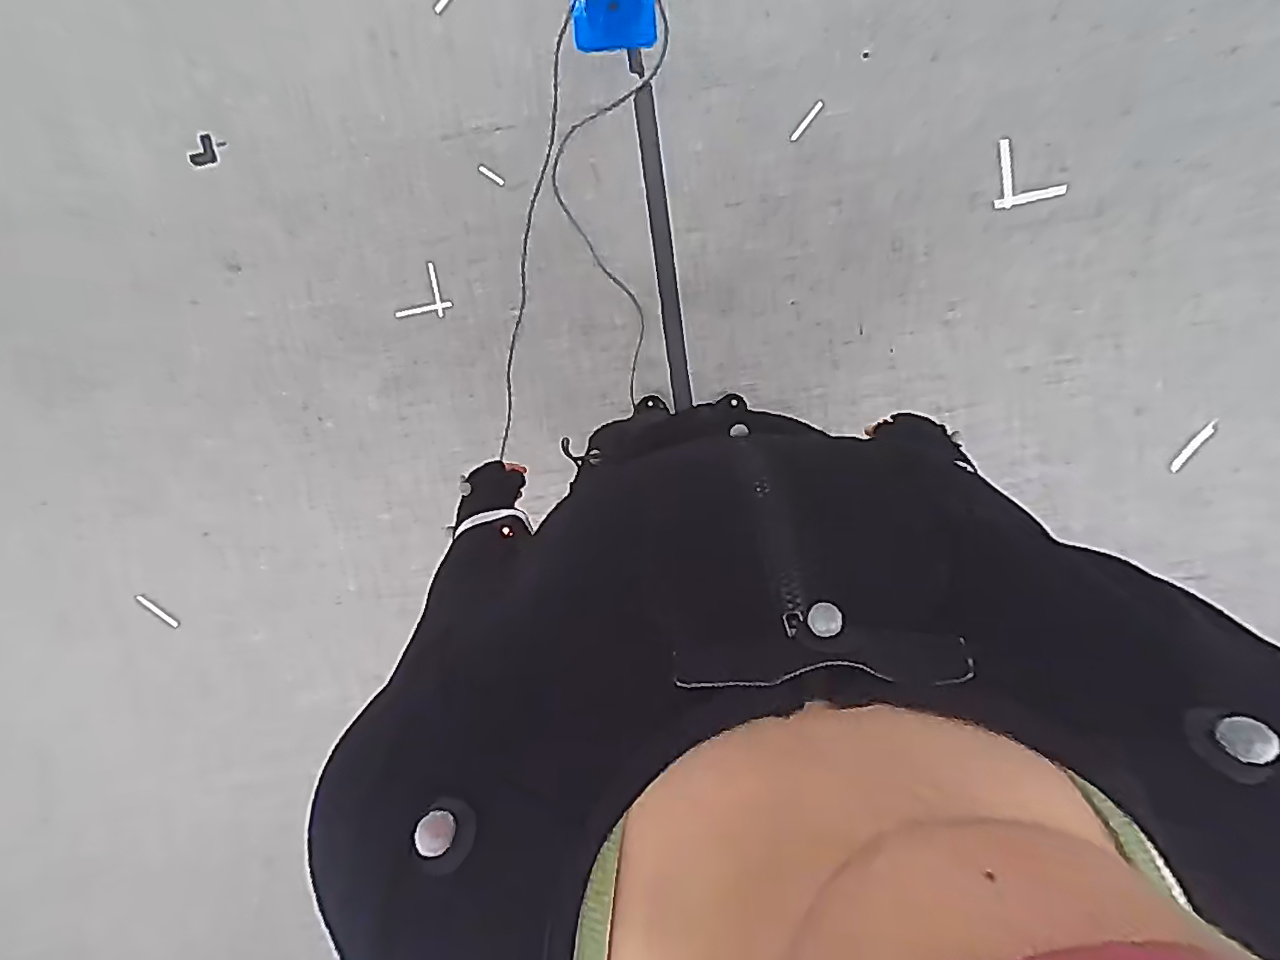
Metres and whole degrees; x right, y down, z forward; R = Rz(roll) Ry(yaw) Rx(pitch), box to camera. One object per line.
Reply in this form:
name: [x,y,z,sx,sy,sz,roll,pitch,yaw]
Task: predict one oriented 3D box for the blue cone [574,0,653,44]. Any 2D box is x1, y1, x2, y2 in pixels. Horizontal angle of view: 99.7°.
blue cone: [-0.072,-1.103,1.103,0.193,0.380,0.192,-5,100,3]
